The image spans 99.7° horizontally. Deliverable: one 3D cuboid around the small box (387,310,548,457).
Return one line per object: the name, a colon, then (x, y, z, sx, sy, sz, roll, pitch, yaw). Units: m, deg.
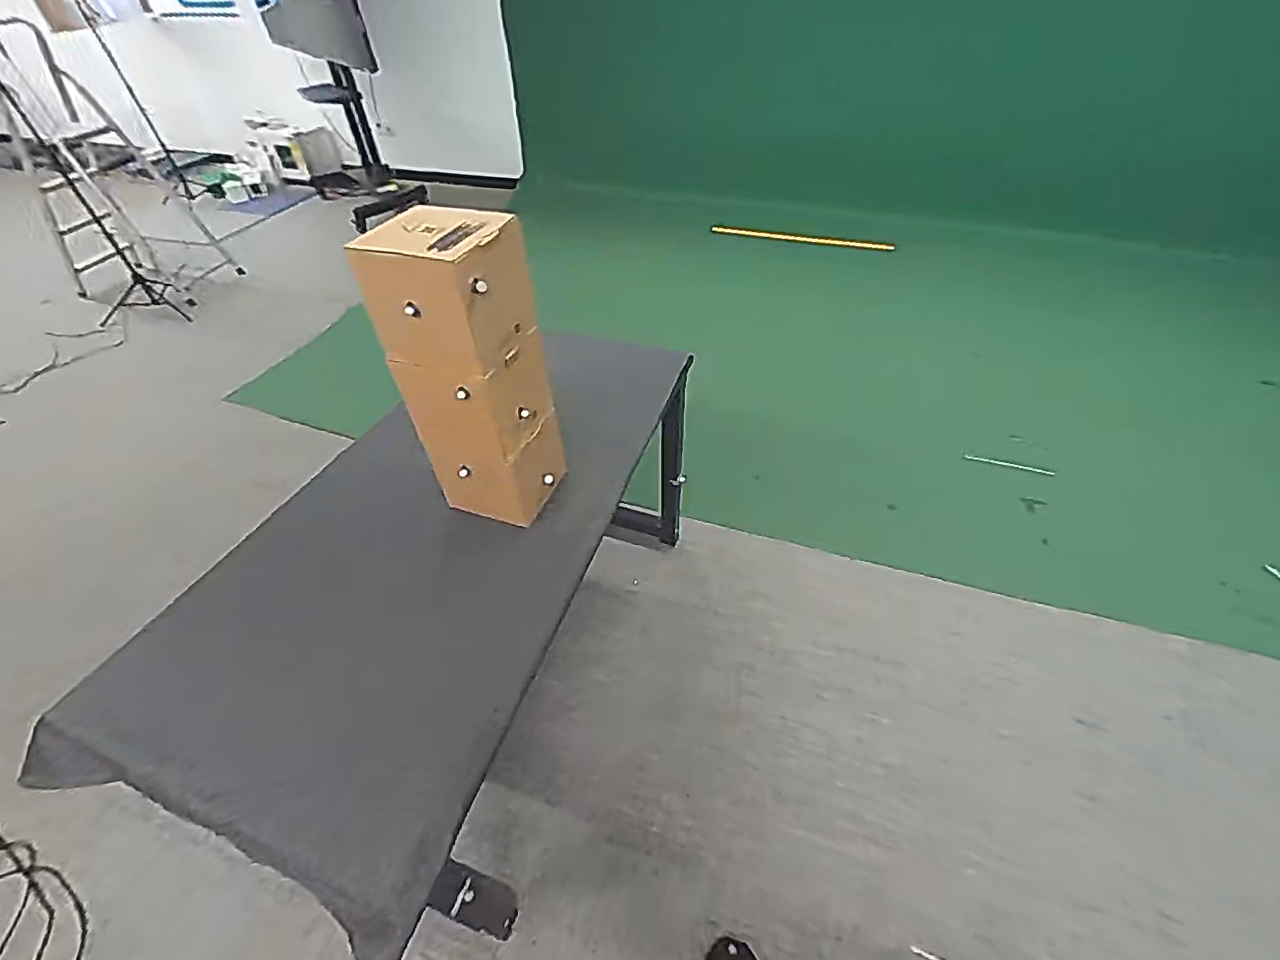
small box: (-0.272, -0.160, 0.898, 0.179, 0.176, 0.168, 14, 47, 15)

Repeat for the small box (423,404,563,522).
small box: (-0.263, -0.044, 1.011, 0.179, 0.176, 0.168, 14, 48, 15)
